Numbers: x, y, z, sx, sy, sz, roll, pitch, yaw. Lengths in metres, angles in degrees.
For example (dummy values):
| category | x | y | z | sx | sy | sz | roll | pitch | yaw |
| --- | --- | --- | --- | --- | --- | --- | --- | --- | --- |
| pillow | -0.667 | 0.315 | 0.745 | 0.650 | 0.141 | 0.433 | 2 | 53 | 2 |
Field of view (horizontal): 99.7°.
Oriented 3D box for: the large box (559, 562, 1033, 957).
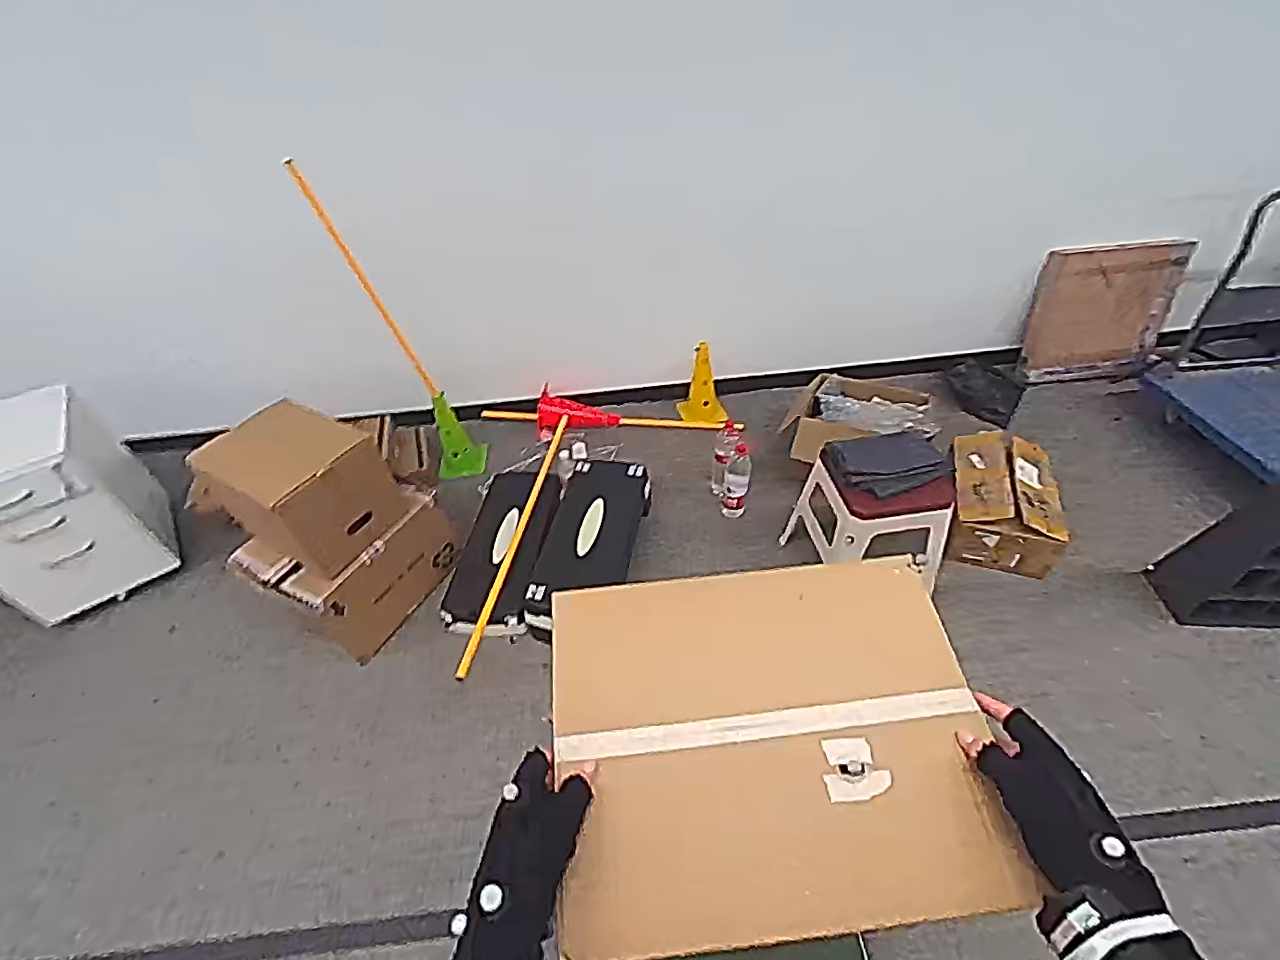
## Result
| category | x | y | z | sx | sy | sz | roll | pitch | yaw |
| --- | --- | --- | --- | --- | --- | --- | --- | --- | --- |
| large box | 0.124 | 0.326 | 0.653 | 0.408 | 0.320 | 0.320 | -5 | 55 | -3 |
